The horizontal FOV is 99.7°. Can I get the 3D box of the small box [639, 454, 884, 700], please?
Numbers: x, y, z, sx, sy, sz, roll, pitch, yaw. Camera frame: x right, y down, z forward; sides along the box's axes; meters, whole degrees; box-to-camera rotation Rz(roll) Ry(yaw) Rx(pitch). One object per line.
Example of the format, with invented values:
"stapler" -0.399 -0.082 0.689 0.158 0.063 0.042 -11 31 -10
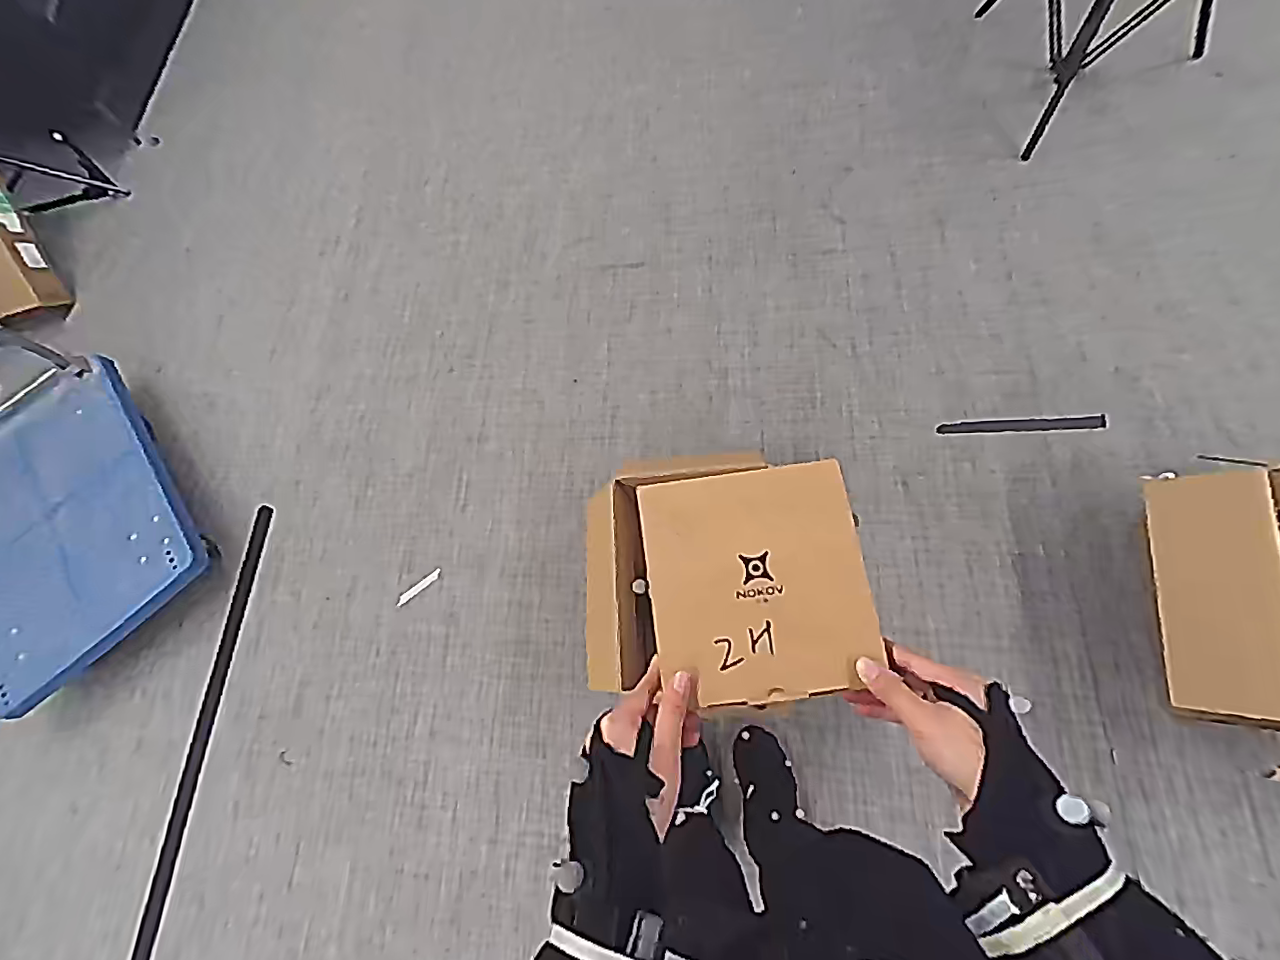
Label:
"small box" 0.092 0.094 0.493 0.168 0.176 0.179 -8 73 3
